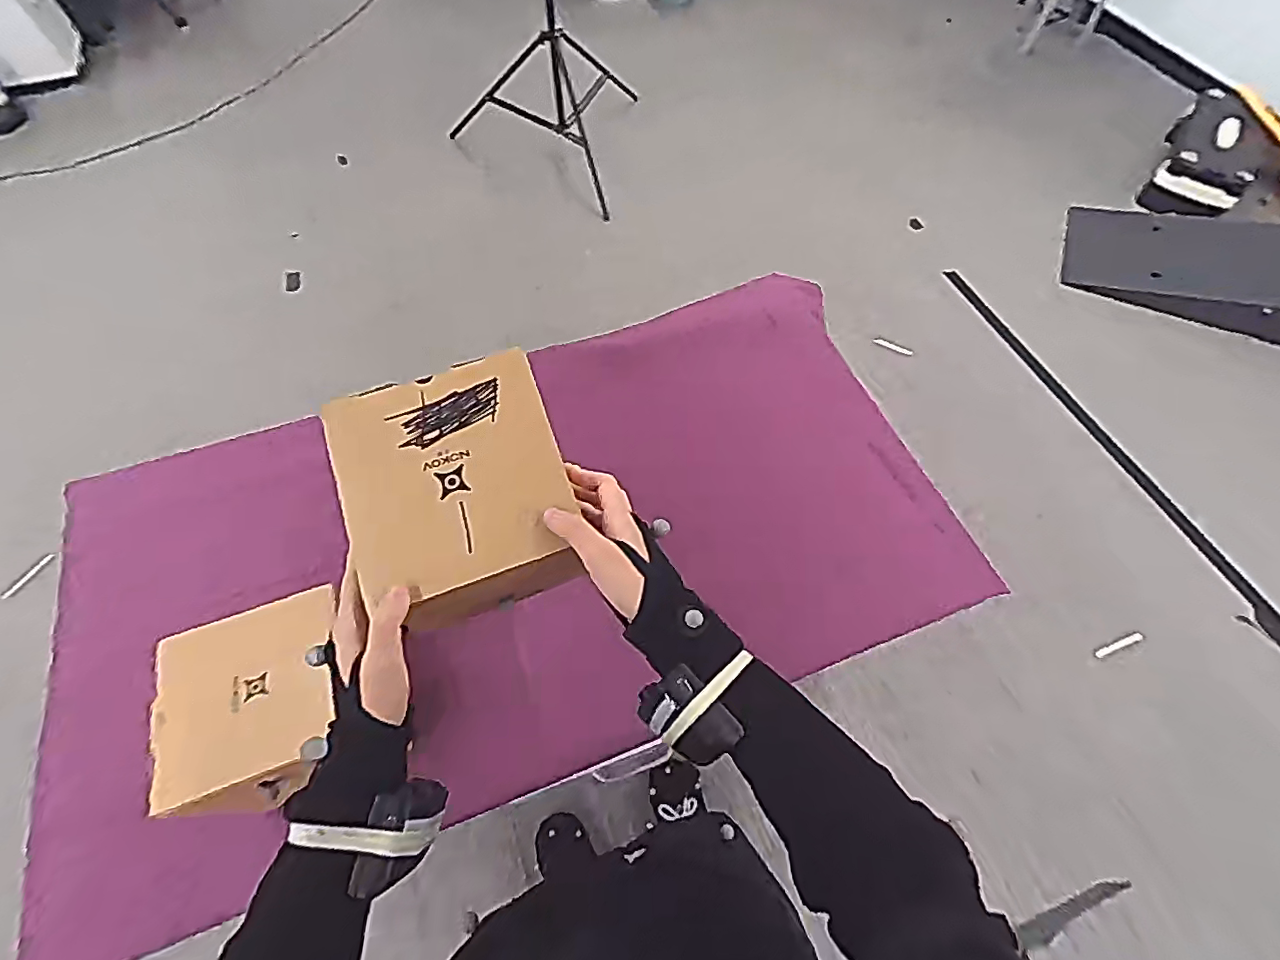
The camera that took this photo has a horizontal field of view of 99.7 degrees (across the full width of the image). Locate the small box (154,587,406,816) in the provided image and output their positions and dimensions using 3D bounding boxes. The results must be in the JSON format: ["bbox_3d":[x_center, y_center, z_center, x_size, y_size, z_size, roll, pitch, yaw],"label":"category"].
[{"bbox_3d":[-0.379,0.243,0.600,0.179,0.176,0.168,-19,63,-9],"label":"small box"}]

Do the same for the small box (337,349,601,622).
[{"bbox_3d":[-0.140,0.016,0.492,0.168,0.176,0.179,-19,74,-8],"label":"small box"}]
